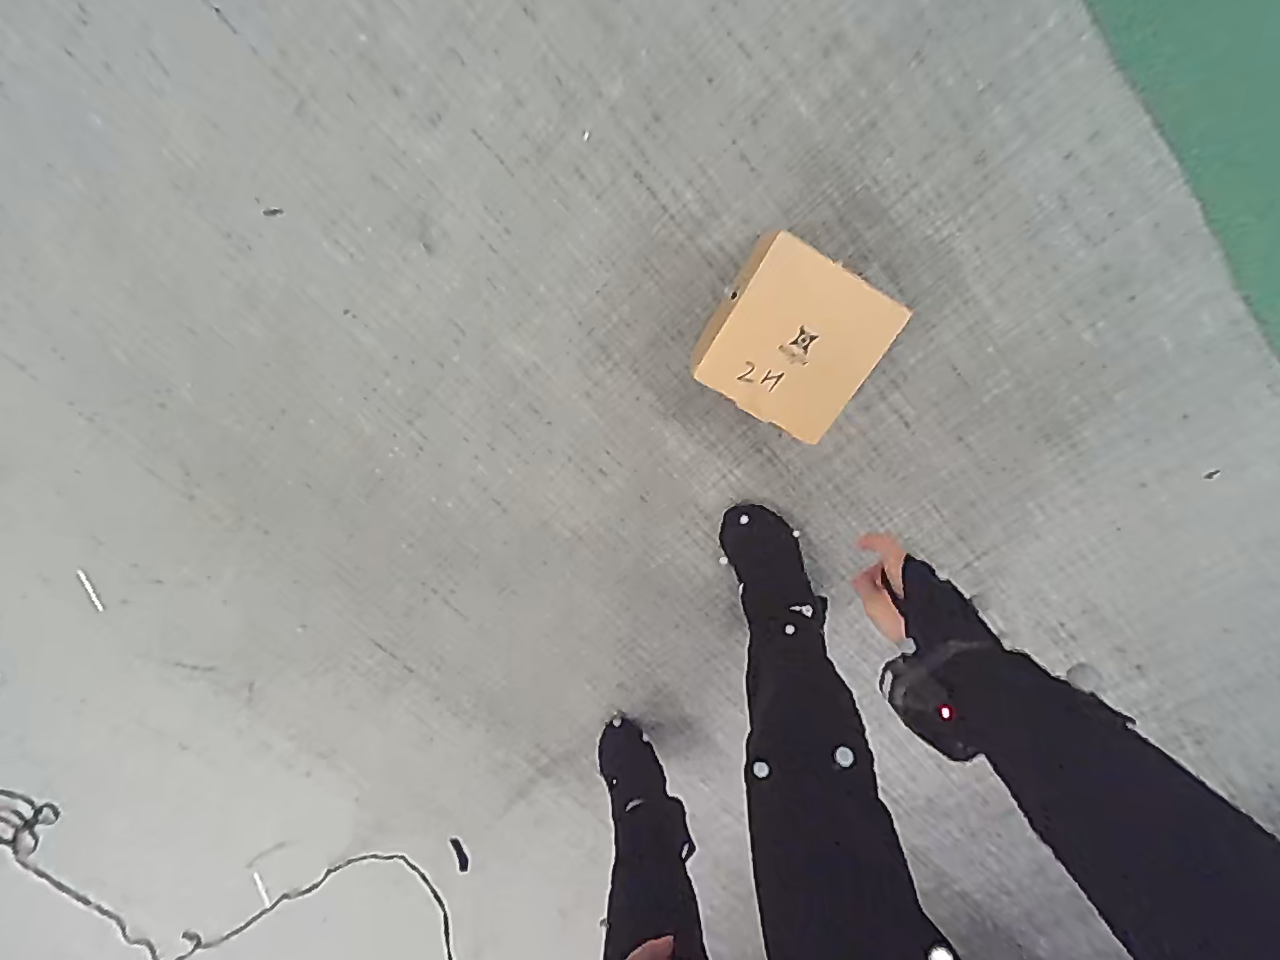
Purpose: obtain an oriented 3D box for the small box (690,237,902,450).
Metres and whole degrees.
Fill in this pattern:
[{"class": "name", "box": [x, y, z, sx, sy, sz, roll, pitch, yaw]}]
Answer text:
[{"class": "small box", "box": [0.172, -0.171, 0.663, 0.168, 0.176, 0.179, 30, 111, -6]}]
